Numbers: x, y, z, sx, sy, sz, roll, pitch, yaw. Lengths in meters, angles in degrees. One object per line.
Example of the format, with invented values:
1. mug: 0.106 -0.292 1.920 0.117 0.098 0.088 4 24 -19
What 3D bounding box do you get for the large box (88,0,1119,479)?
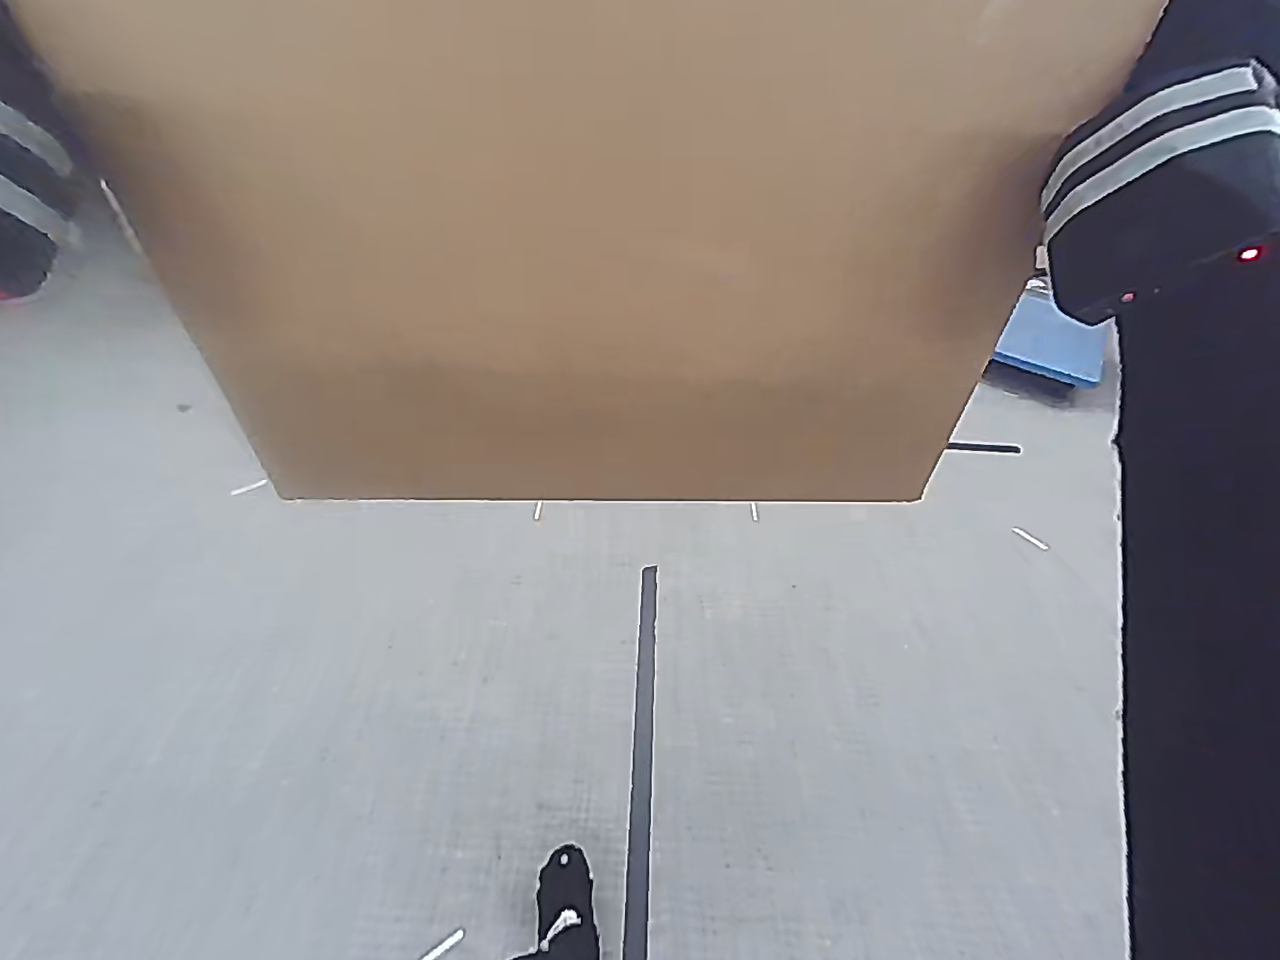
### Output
1. large box: -0.019 -0.210 0.373 0.408 0.320 0.320 1 41 -4
